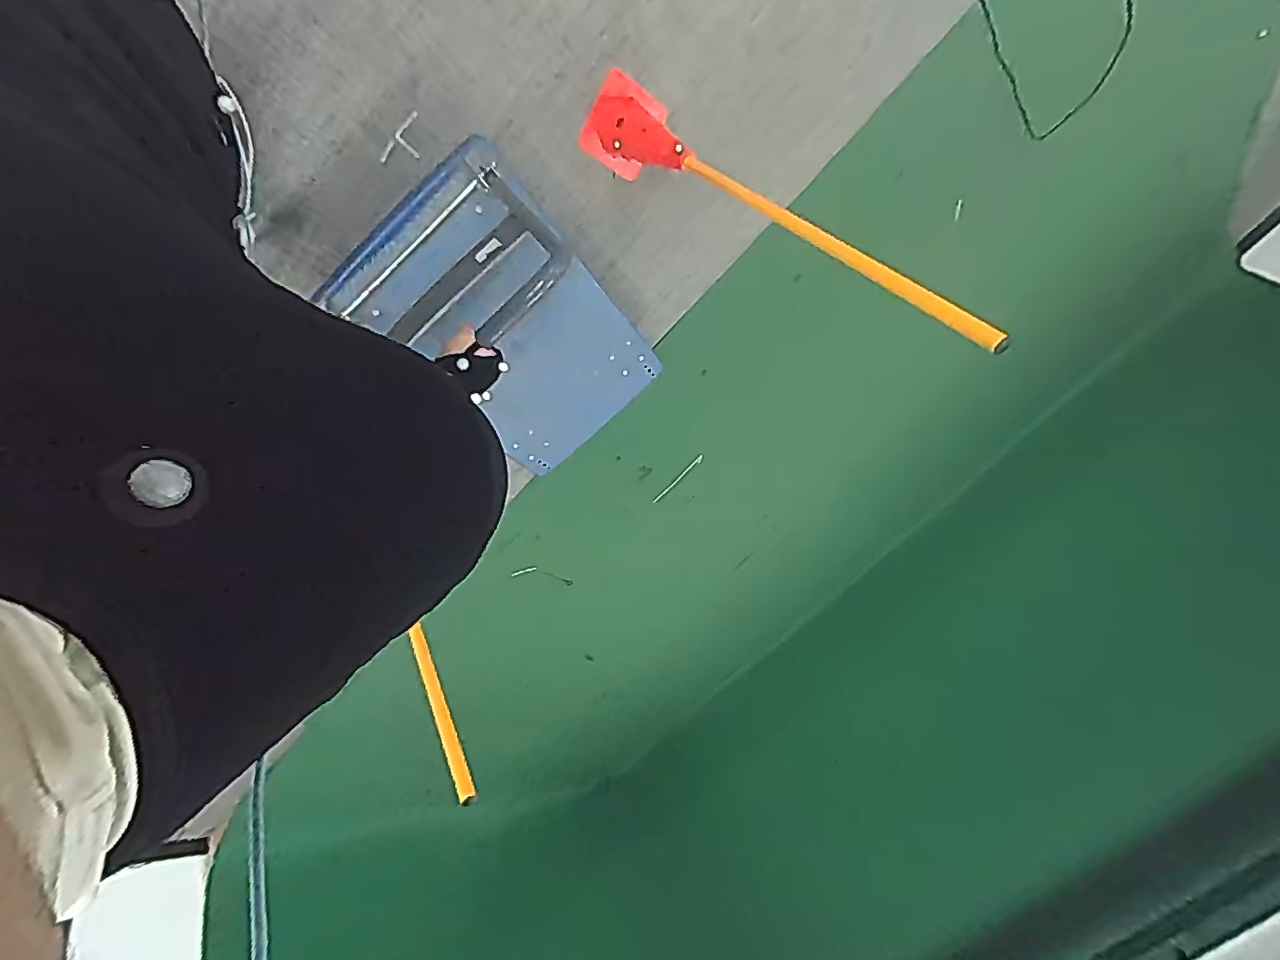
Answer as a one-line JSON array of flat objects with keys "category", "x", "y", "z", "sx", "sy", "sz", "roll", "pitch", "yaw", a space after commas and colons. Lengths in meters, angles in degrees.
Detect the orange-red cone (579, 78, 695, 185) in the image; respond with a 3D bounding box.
[{"category": "orange-red cone", "x": 0.028, "y": -0.820, "z": 1.336, "sx": 0.198, "sy": 0.360, "sz": 0.199, "roll": 13, "pitch": 120, "yaw": -42}]
